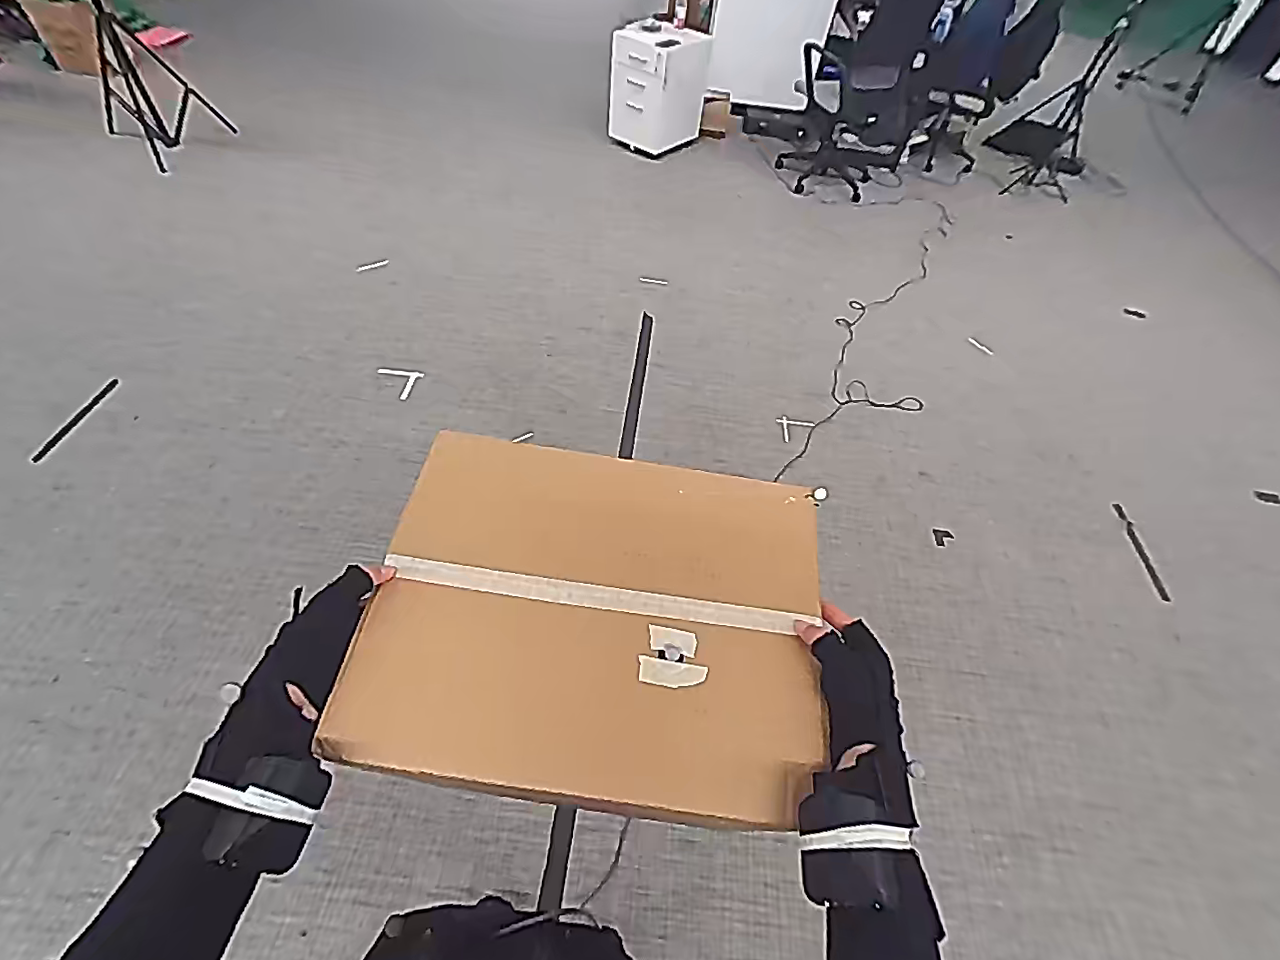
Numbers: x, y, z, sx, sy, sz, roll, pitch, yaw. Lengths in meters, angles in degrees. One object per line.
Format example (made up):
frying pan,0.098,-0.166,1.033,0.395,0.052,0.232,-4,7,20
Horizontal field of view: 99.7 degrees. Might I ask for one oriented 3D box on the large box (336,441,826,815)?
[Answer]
large box,-0.047,0.189,0.634,0.408,0.320,0.320,9,58,-2
